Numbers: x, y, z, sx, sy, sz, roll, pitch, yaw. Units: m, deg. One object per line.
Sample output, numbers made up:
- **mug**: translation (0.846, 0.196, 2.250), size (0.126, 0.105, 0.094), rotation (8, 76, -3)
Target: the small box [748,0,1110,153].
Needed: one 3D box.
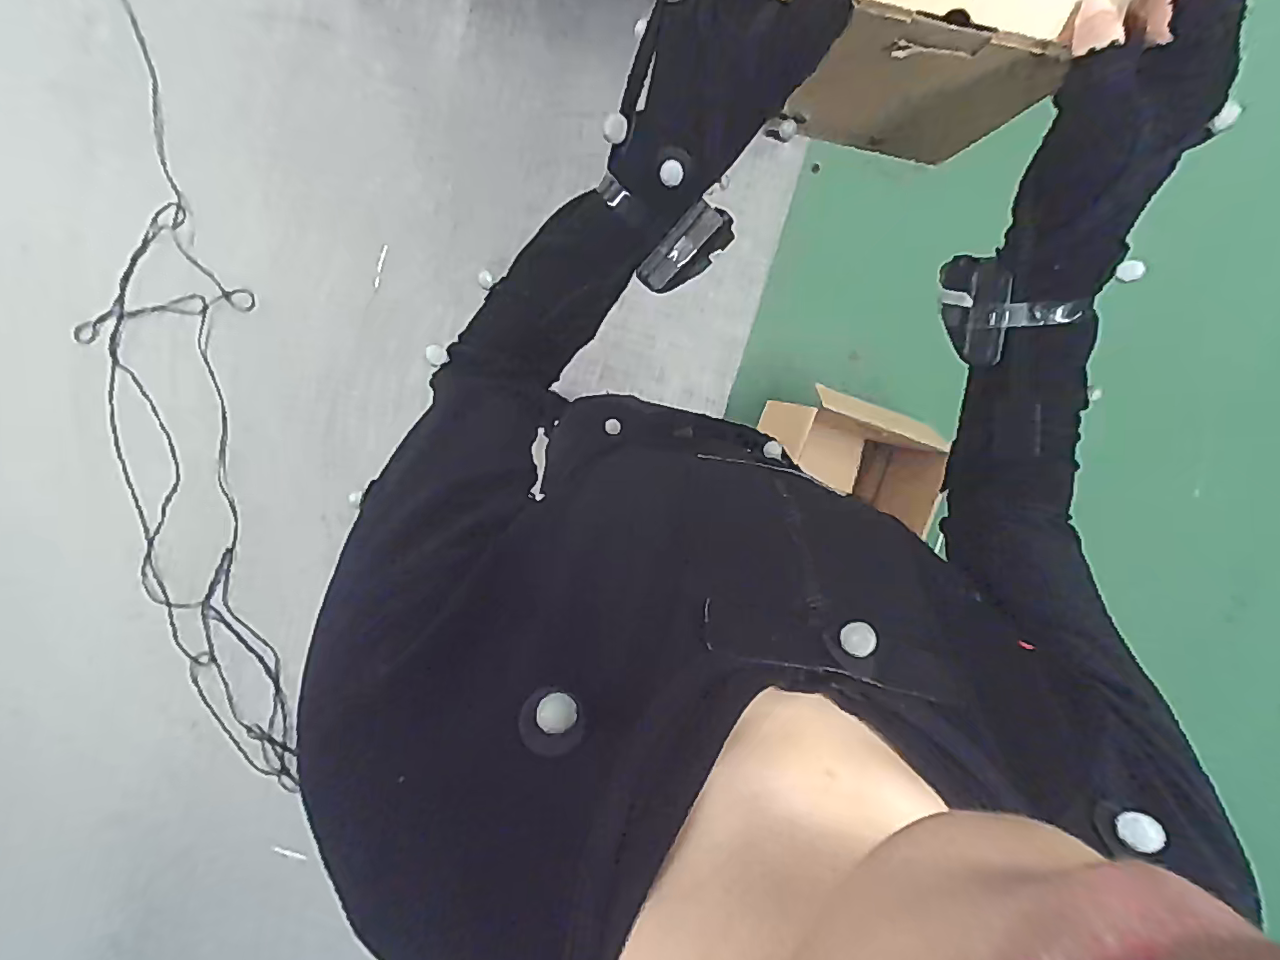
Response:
- **small box**: translation (0.173, -0.337, 0.338), size (0.168, 0.176, 0.179), rotation (11, 102, -2)
